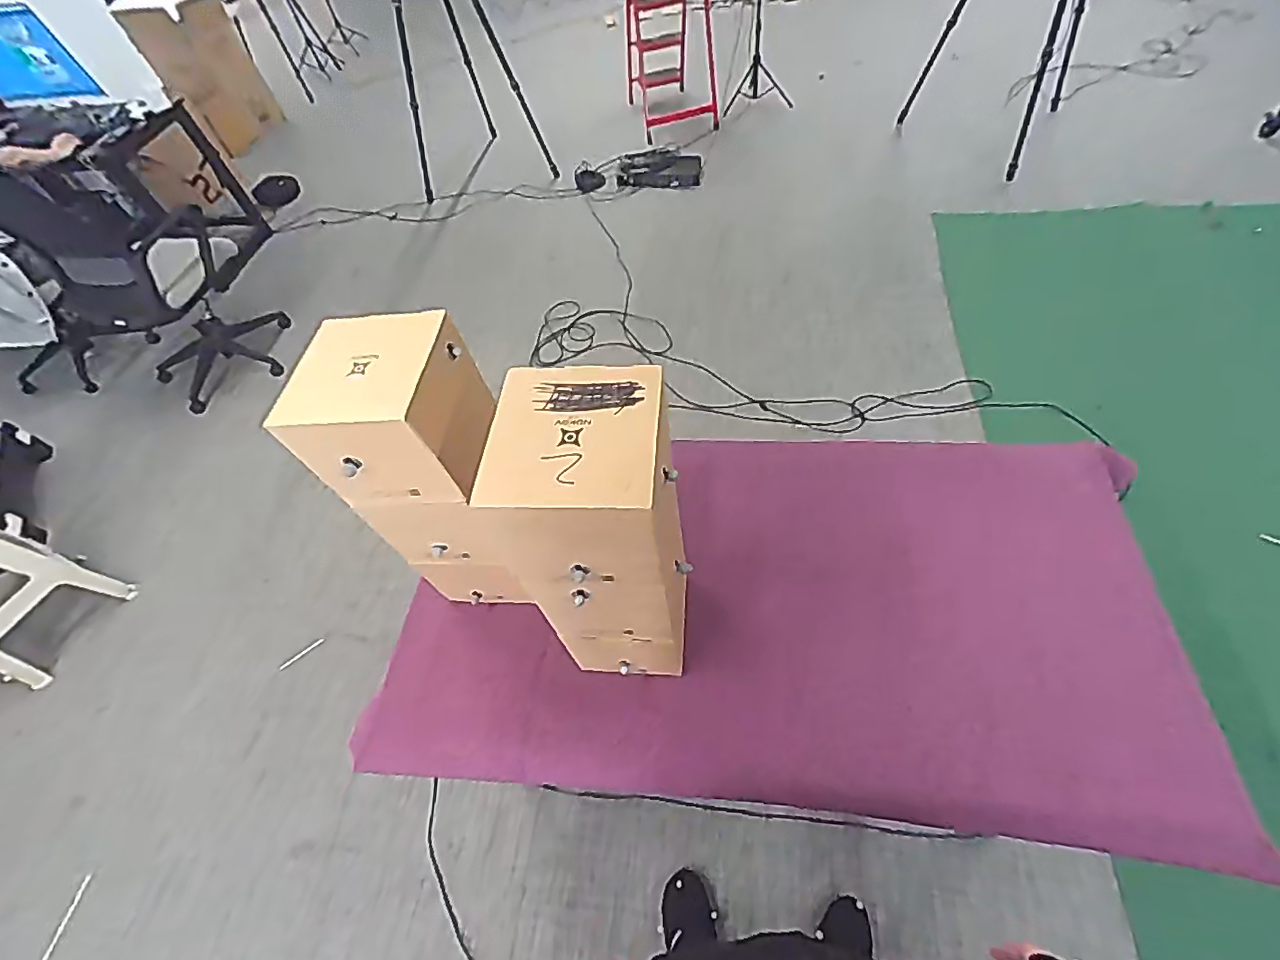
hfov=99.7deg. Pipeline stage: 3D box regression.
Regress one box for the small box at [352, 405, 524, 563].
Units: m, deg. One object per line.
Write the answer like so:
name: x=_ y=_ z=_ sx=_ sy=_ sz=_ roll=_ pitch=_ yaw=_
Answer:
small box: x=-0.284 y=0.008 z=0.812 sx=0.168 sy=0.176 sz=0.179 roll=-1 pitch=56 yaw=9

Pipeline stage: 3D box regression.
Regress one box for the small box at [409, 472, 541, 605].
small box: x=-0.266 y=0.102 z=0.944 sx=0.168 sy=0.176 sz=0.179 roll=-1 pitch=56 yaw=8

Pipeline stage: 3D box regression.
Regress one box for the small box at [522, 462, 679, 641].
small box: x=-0.038 y=0.095 z=0.714 sx=0.168 sy=0.176 sz=0.179 roll=0 pitch=55 yaw=9

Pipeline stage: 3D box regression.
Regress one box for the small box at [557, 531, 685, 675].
small box: x=-0.018 y=0.190 z=0.846 sx=0.168 sy=0.176 sz=0.179 roll=0 pitch=56 yaw=9

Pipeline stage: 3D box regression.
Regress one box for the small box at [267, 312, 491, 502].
small box: x=-0.305 y=-0.083 z=0.679 sx=0.168 sy=0.176 sz=0.179 roll=-2 pitch=55 yaw=8
